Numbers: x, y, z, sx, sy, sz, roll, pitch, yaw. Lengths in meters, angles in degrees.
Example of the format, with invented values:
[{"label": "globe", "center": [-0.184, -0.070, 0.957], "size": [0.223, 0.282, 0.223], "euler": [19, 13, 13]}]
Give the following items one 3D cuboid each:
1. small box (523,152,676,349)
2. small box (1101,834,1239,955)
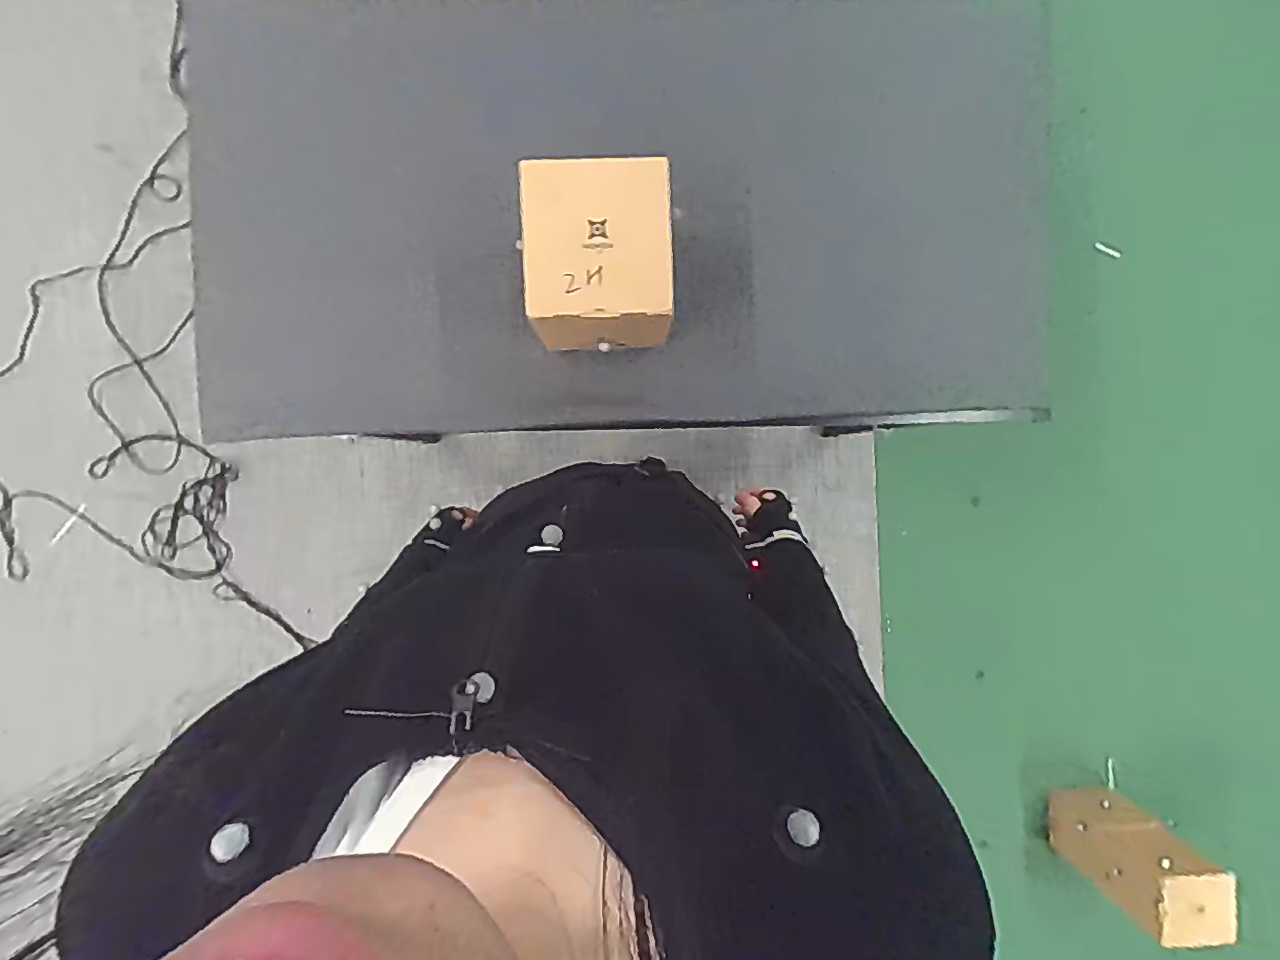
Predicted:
[{"label": "small box", "center": [-0.047, -0.272, 0.672], "size": [0.168, 0.176, 0.179], "euler": [-3, 91, -1]}, {"label": "small box", "center": [1.269, 0.989, 1.304], "size": [0.179, 0.176, 0.168], "euler": [-2, 92, -2]}]
